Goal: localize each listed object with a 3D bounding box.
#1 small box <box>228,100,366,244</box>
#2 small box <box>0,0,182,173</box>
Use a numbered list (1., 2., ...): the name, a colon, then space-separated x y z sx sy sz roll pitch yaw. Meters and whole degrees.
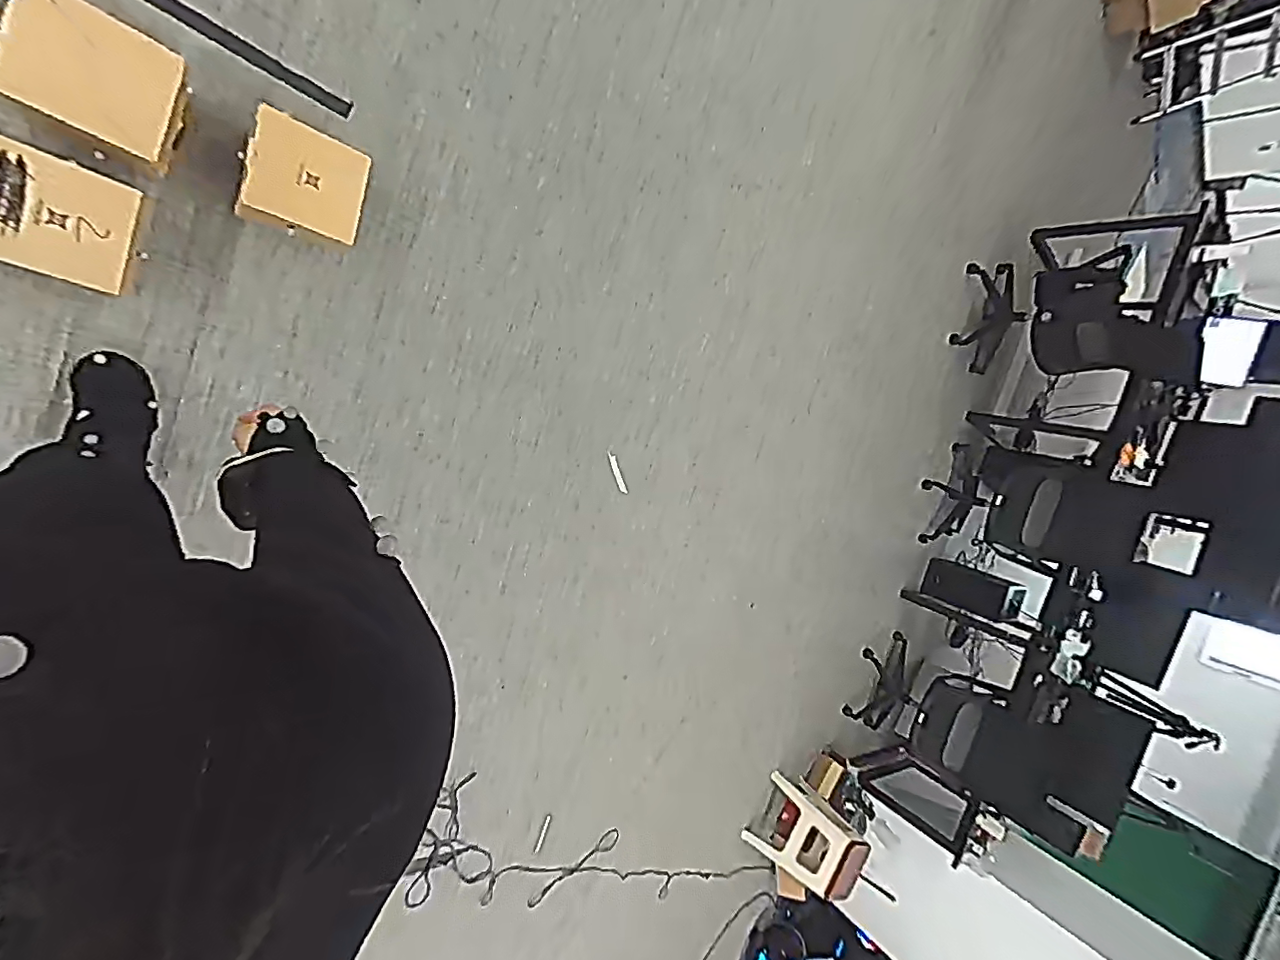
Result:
1. small box: -0.639 -0.553 1.003 0.179 0.176 0.168 11 97 -41
2. small box: -0.830 -0.605 0.819 0.179 0.176 0.168 18 92 -42
